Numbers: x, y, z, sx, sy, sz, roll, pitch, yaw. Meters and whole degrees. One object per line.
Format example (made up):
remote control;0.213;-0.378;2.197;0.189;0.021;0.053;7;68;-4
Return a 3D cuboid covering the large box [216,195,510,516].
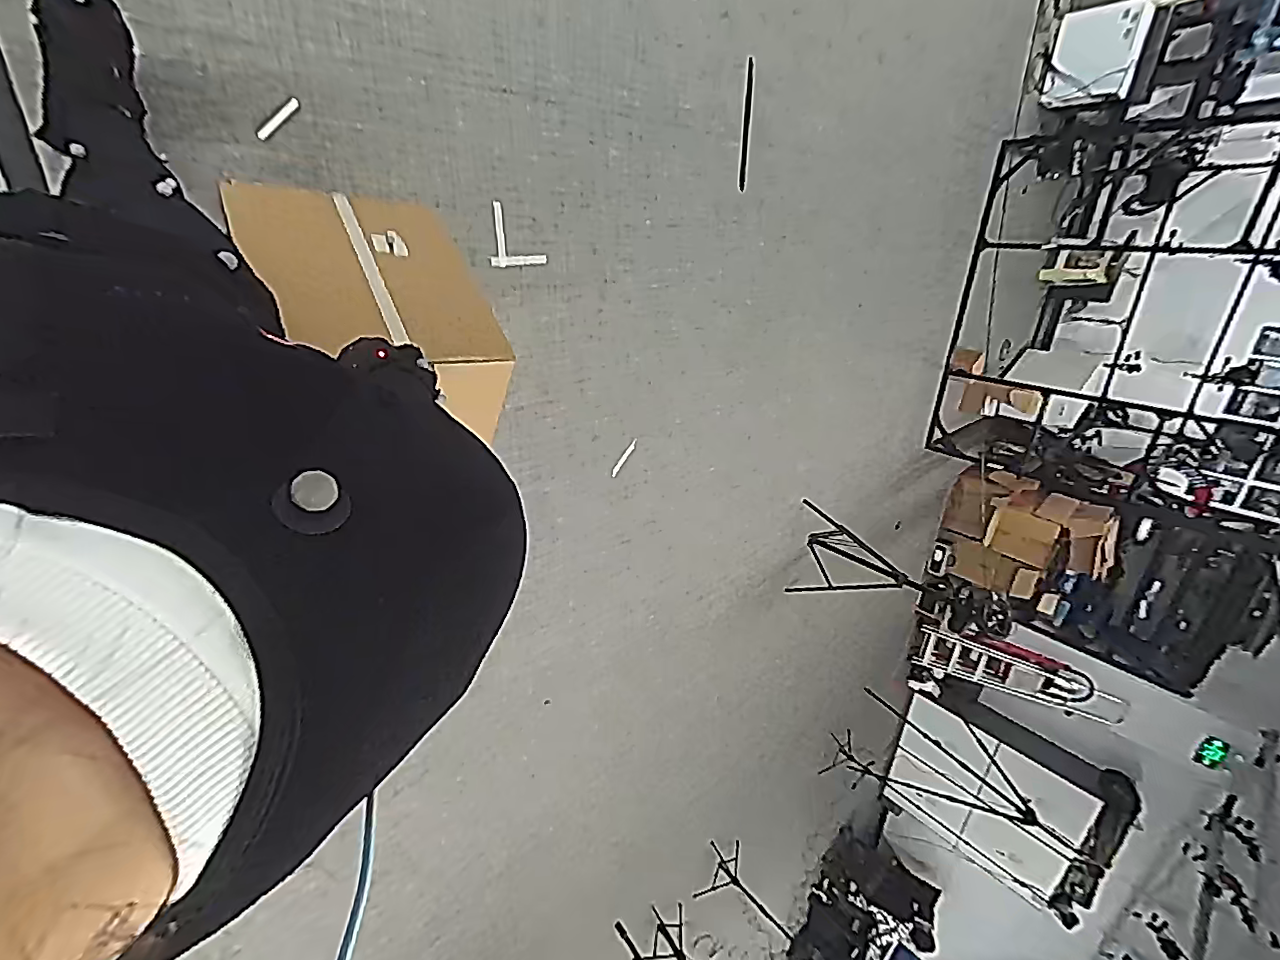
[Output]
large box;-0.467;-0.208;0.909;0.320;0.408;0.320;-12;146;-38
